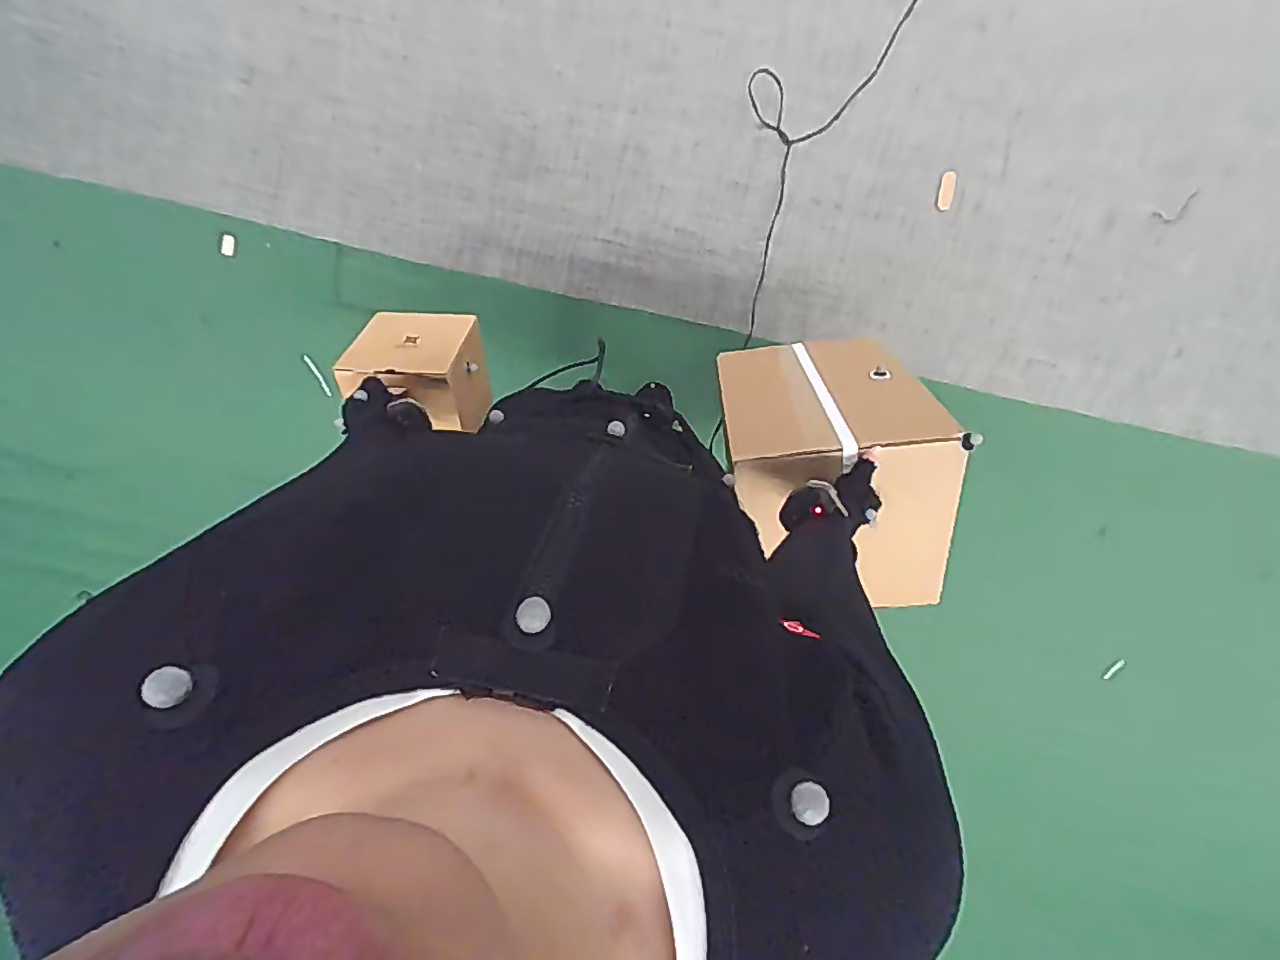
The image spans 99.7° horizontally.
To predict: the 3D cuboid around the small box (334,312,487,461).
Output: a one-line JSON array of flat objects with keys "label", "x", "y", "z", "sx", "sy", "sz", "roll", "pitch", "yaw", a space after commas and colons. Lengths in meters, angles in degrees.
[{"label": "small box", "x": -0.357, "y": -0.153, "z": 0.884, "sx": 0.168, "sy": 0.179, "sz": 0.176, "roll": 3, "pitch": 135, "yaw": 0}]
